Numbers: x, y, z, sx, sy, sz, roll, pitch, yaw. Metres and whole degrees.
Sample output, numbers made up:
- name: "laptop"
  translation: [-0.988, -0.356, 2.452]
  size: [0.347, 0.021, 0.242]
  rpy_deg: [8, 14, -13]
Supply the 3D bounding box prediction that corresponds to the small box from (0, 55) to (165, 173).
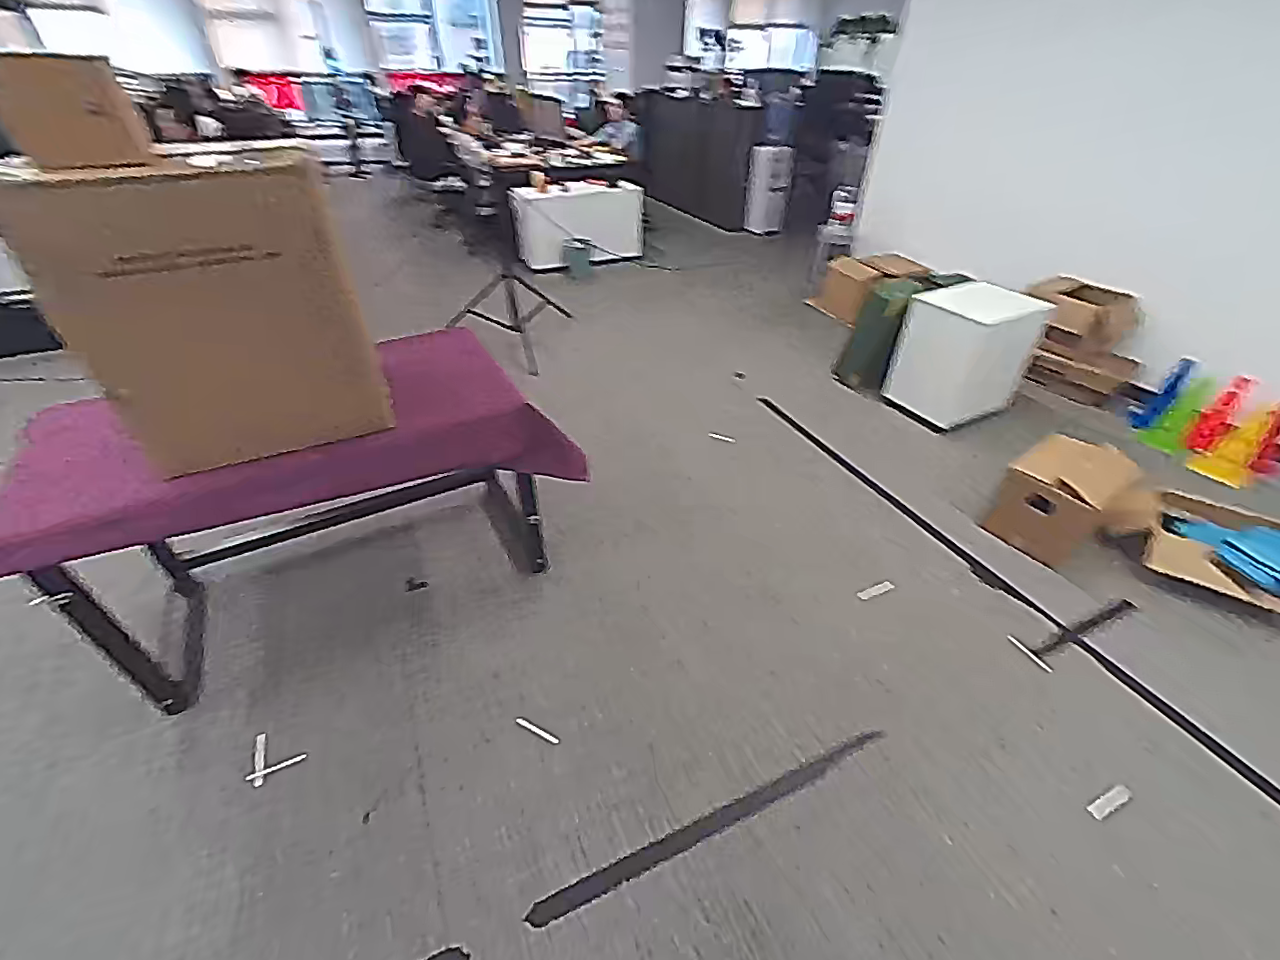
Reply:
- name: "small box"
  translation: [-1.039, -0.686, 1.012]
  size: [0.179, 0.176, 0.168]
  rpy_deg: [-19, 42, -23]
